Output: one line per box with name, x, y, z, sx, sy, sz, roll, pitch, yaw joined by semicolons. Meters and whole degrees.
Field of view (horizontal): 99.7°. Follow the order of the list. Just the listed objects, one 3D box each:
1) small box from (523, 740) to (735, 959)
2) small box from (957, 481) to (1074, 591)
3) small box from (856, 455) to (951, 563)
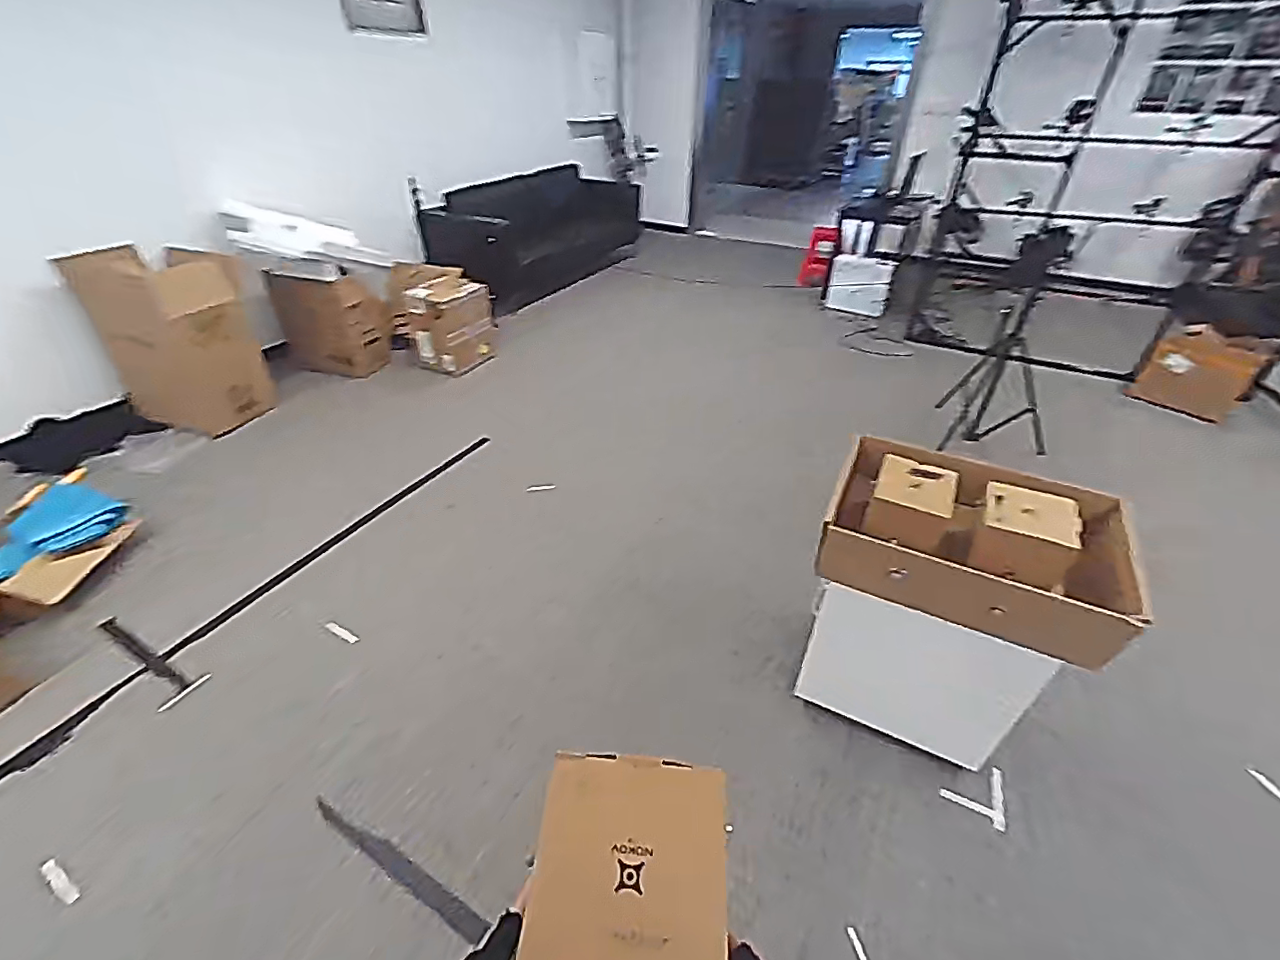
small box;-0.005;0.372;0.517;0.168;0.176;0.179;4;50;2
small box;0.873;0.134;1.267;0.179;0.176;0.168;17;44;23
small box;0.653;0.072;1.348;0.168;0.176;0.179;18;46;21
